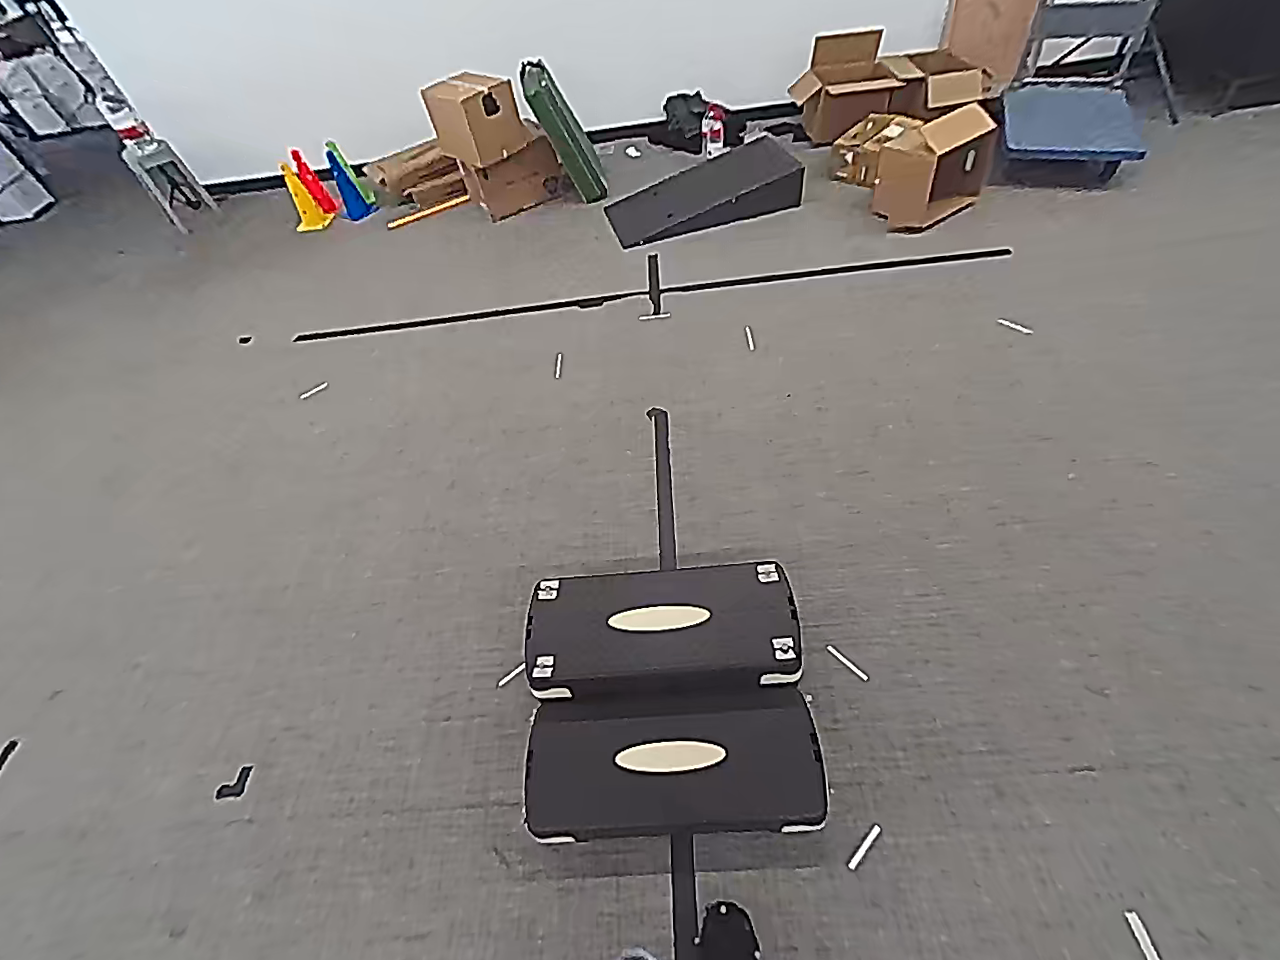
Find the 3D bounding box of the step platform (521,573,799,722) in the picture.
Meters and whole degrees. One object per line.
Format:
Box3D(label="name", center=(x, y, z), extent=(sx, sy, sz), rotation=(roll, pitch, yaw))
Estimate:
Box3D(label="step platform", center=(0.046, 0.420, 1.373), extent=(0.684, 0.204, 0.286), rotation=(-5, 52, 3))
